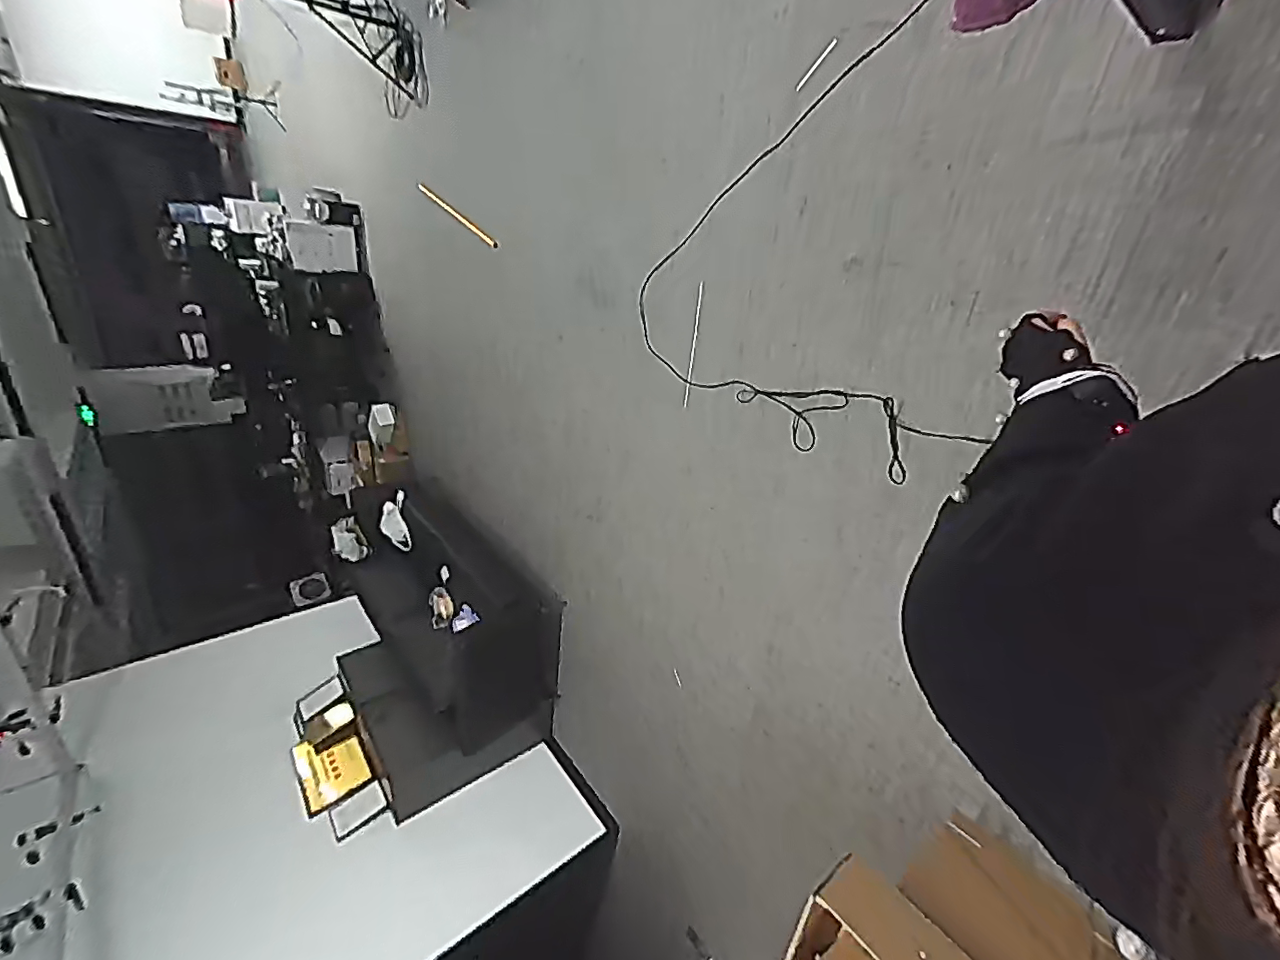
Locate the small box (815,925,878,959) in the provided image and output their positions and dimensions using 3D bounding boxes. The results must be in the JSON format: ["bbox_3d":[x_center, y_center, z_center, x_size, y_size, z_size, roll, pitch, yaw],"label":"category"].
[{"bbox_3d":[0.519,1.284,1.361,0.168,0.176,0.179,40,129,38],"label":"small box"}]
